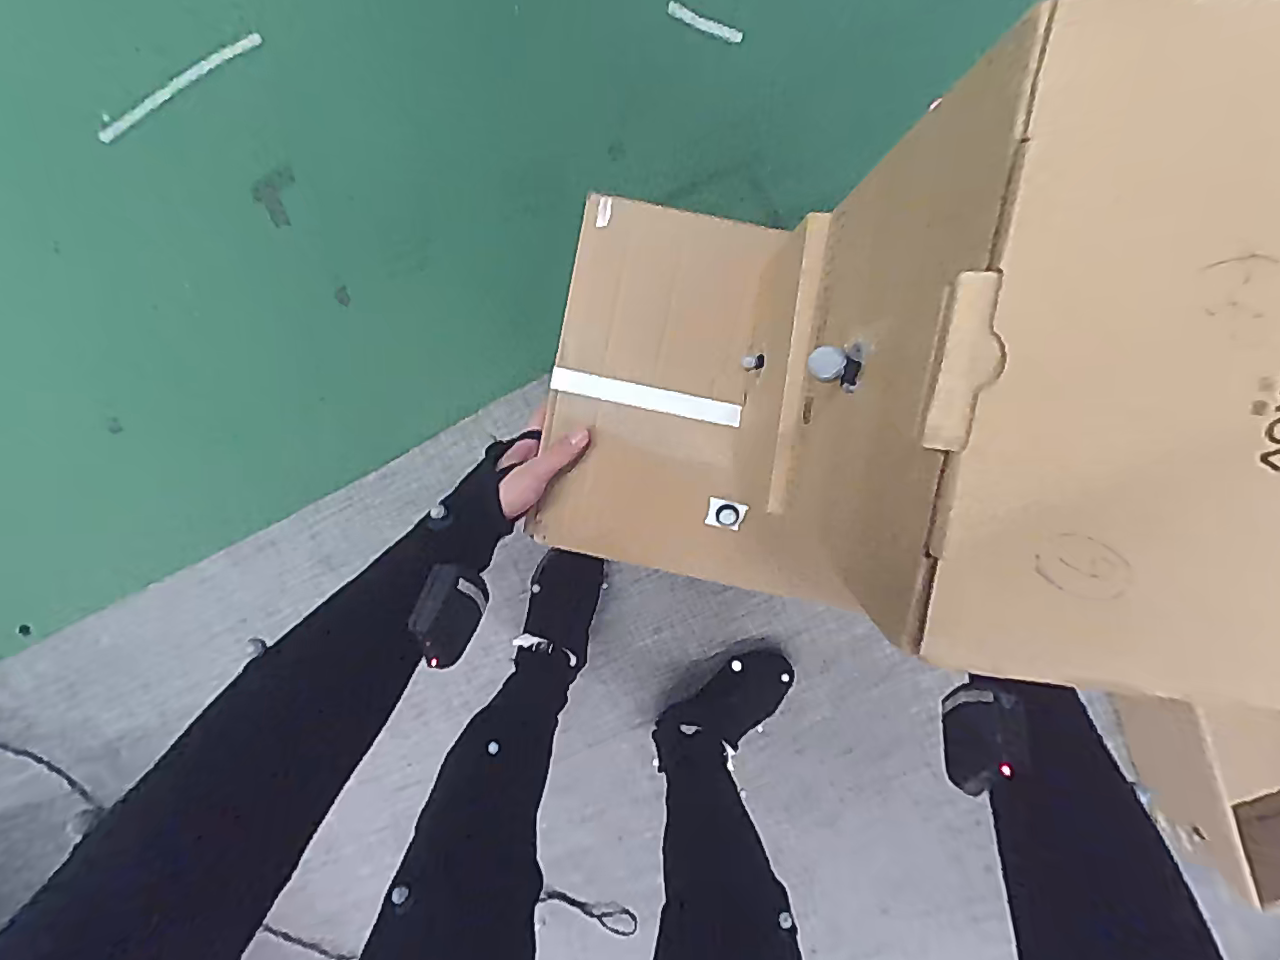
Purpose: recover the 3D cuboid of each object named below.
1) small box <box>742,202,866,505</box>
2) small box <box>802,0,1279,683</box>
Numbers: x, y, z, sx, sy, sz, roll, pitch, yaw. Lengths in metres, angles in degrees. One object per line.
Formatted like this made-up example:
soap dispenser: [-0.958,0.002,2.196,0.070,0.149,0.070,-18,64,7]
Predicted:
small box: [0.172,-0.071,0.371,0.179,0.176,0.168,6,101,2]
small box: [0.174,-0.040,0.210,0.179,0.176,0.168,7,101,3]
